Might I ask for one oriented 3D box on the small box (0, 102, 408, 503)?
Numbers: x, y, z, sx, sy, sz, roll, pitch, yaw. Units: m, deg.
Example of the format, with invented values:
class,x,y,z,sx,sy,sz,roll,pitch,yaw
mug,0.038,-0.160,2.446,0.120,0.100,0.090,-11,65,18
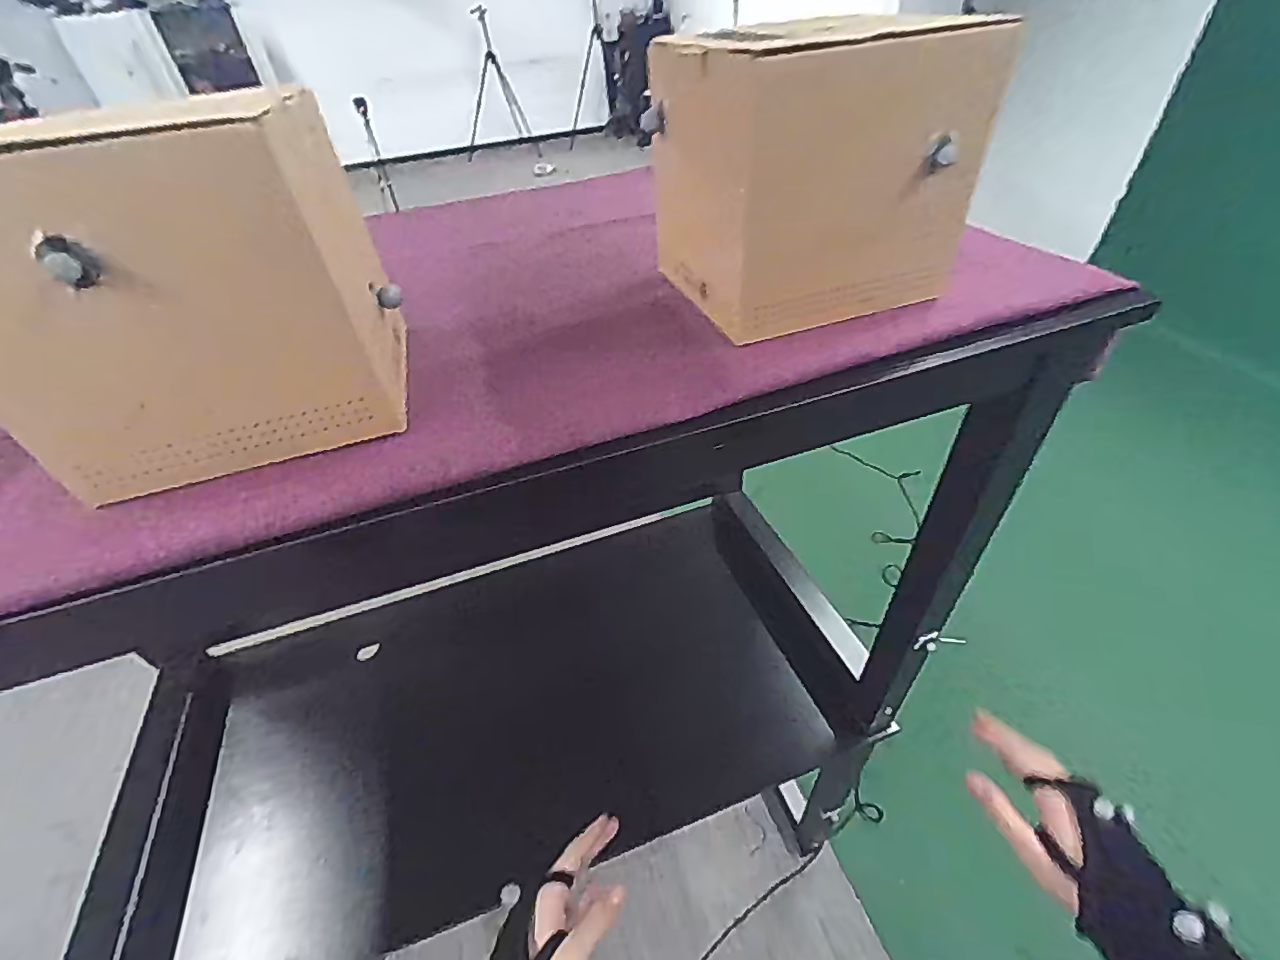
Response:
class,x,y,z,sx,sy,sz,roll,pitch,yaw
small box,-0.264,-0.110,0.331,0.179,0.176,0.168,-16,43,-9
